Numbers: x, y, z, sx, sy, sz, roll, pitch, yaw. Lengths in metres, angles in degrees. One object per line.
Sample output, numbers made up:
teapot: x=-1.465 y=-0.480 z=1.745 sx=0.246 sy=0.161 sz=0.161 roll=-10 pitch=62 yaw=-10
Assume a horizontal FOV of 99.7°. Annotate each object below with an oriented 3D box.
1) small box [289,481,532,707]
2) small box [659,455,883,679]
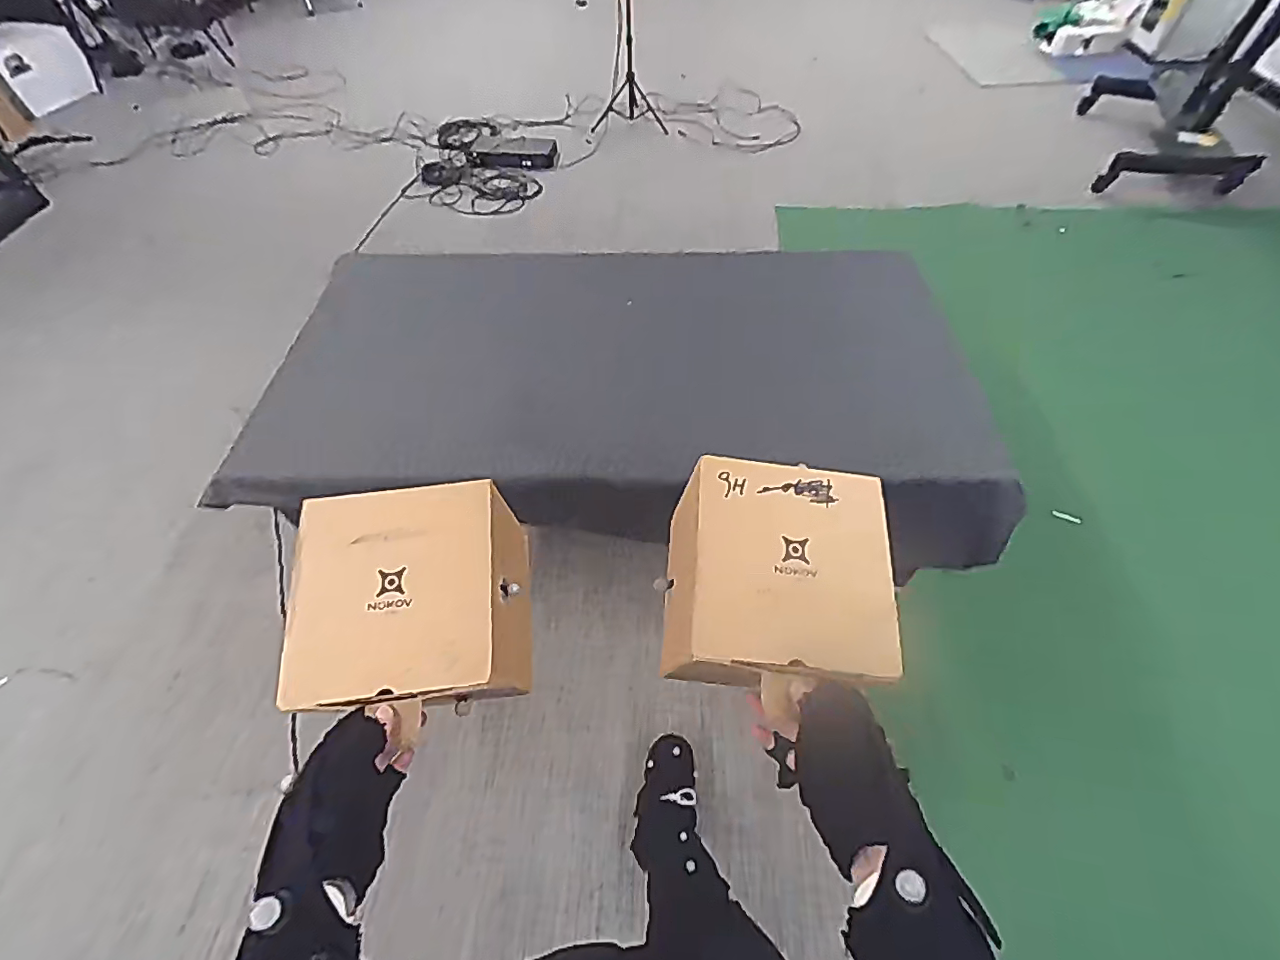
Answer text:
small box: x=-0.206 y=0.120 z=0.533 sx=0.168 sy=0.176 sz=0.179 roll=-7 pitch=66 yaw=-3
small box: x=0.112 y=0.096 z=0.530 sx=0.168 sy=0.176 sz=0.179 roll=6 pitch=66 yaw=-4
